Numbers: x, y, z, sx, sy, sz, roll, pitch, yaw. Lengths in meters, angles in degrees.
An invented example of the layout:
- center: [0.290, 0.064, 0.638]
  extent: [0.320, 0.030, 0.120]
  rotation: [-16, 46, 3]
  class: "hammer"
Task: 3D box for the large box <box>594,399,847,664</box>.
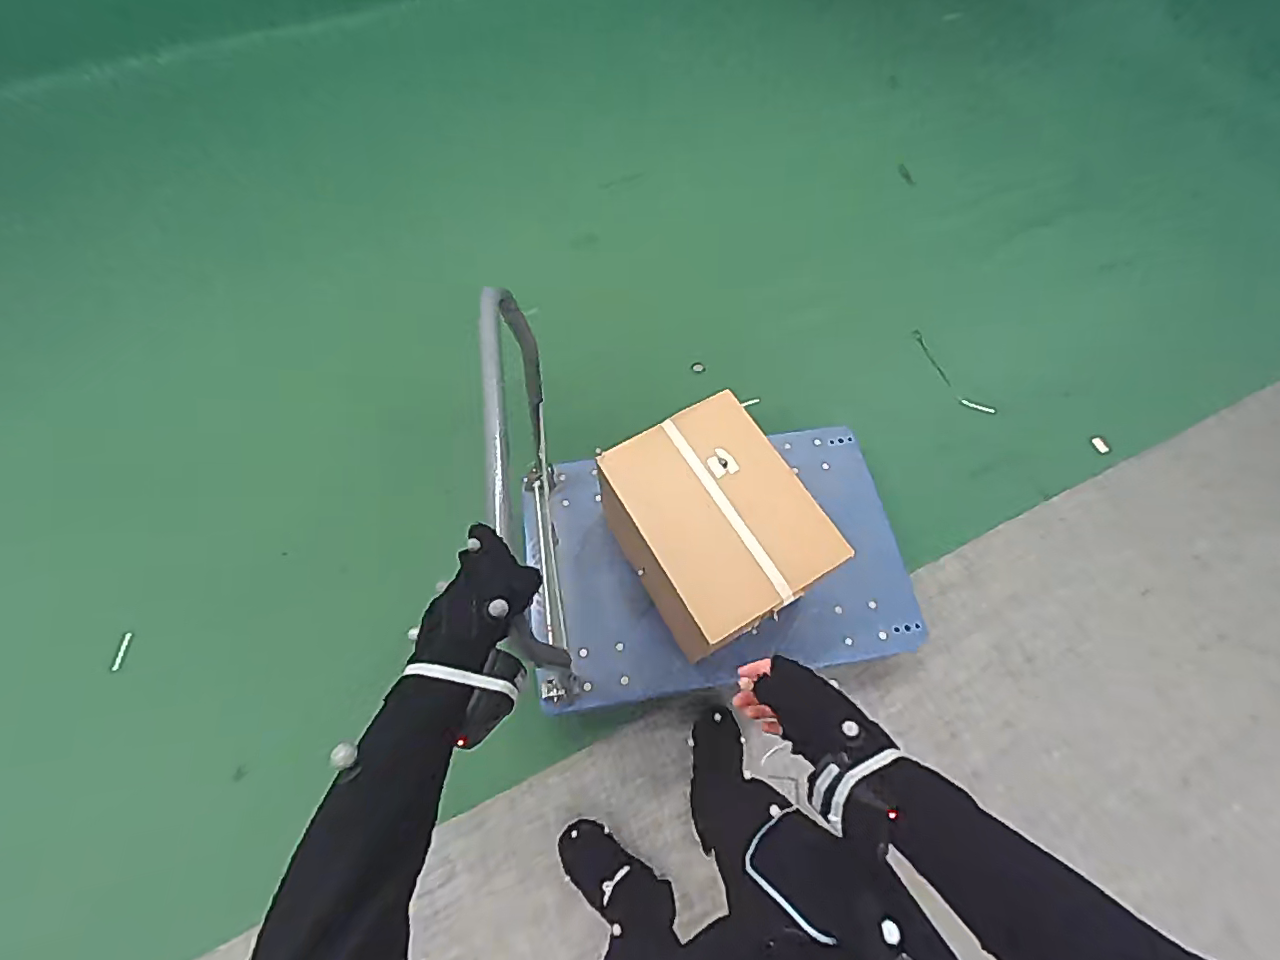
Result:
- center: [0.145, 0.118, 1.139]
  extent: [0.320, 0.320, 0.408]
  rotation: [-28, 68, -13]
  class: "large box"
